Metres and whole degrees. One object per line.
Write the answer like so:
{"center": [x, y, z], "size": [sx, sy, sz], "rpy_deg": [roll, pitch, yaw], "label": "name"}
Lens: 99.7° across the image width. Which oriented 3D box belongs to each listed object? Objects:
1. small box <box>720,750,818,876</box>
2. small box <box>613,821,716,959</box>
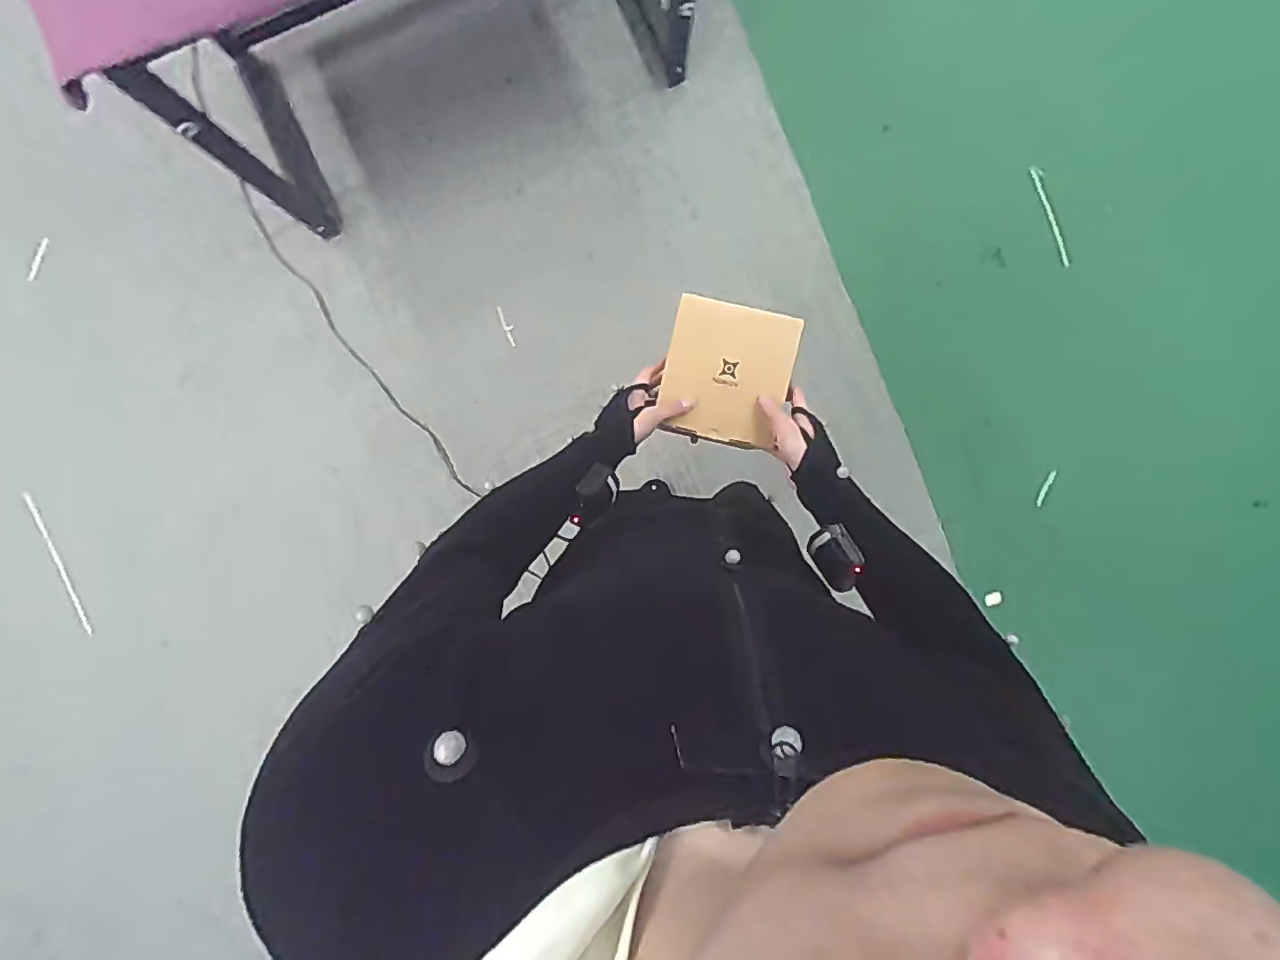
{"center": [0.312, 0.813, 1.336], "size": [0.168, 0.176, 0.179], "rpy_deg": [-21, 92, -1], "label": "small box"}
{"center": [0.050, 0.892, 1.169], "size": [0.168, 0.176, 0.179], "rpy_deg": [-21, 91, -1], "label": "small box"}
